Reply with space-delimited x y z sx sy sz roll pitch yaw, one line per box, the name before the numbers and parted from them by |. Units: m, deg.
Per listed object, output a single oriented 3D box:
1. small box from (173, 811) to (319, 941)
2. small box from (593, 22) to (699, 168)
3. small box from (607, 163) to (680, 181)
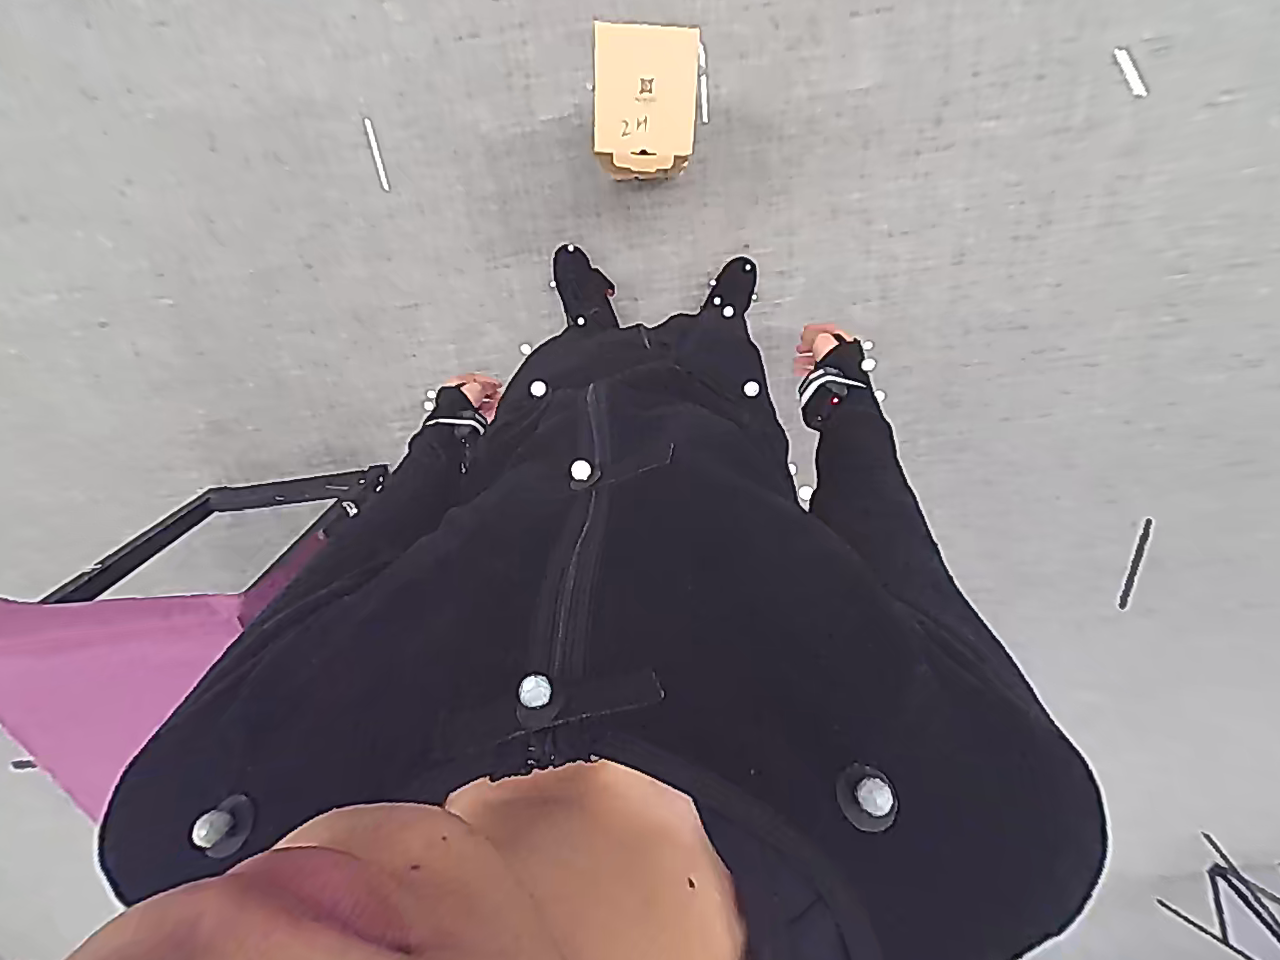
small box | -0.880 0.896 1.231 0.168 0.176 0.179 -17 115 6
small box | 0.002 -0.656 0.940 0.168 0.176 0.179 1 116 -3
small box | 0.004 -0.790 1.242 0.168 0.176 0.179 -3 116 0
